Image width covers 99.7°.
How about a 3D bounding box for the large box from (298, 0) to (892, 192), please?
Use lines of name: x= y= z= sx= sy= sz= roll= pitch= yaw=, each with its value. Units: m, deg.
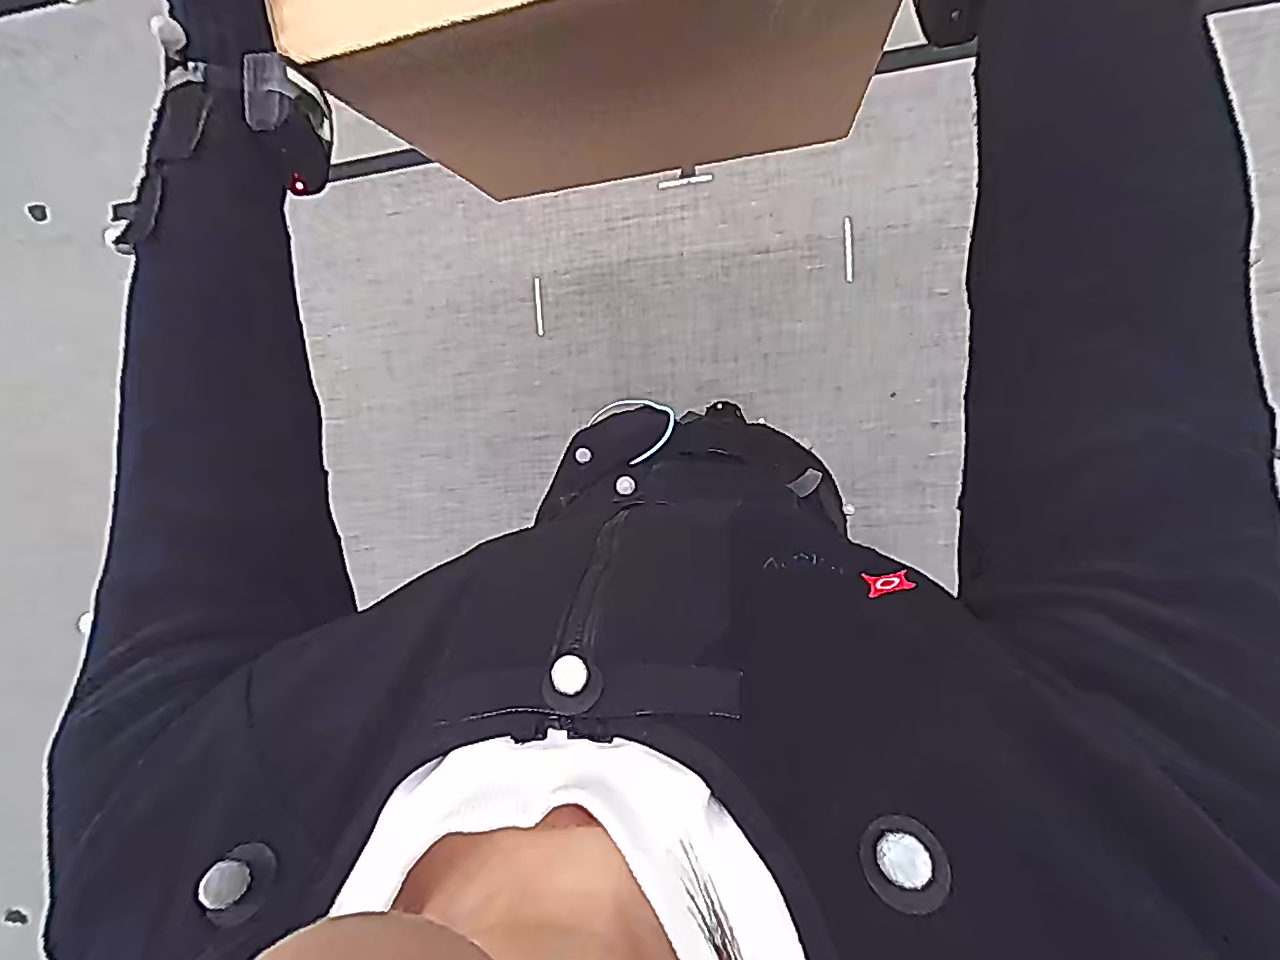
large box: x=-0.021 y=-0.479 z=0.441 sx=0.408 sy=0.320 sz=0.320 roll=-4 pitch=101 yaw=12
